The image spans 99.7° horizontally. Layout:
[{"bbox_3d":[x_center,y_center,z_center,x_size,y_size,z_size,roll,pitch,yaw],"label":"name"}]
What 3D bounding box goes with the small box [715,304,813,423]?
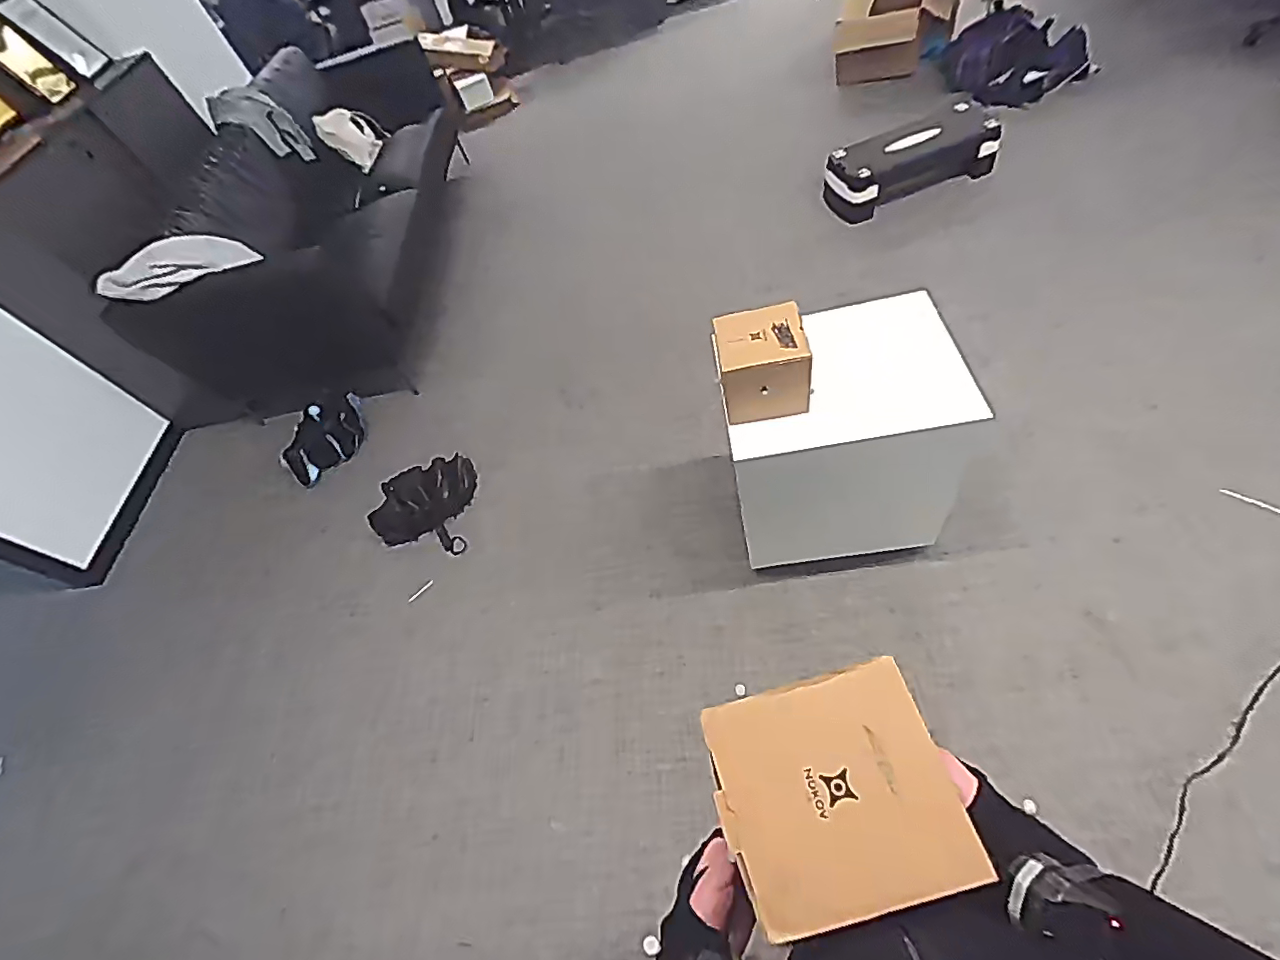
[{"bbox_3d":[0.260,-0.242,1.152,0.179,0.176,0.168,-9,55,10],"label":"small box"}]
